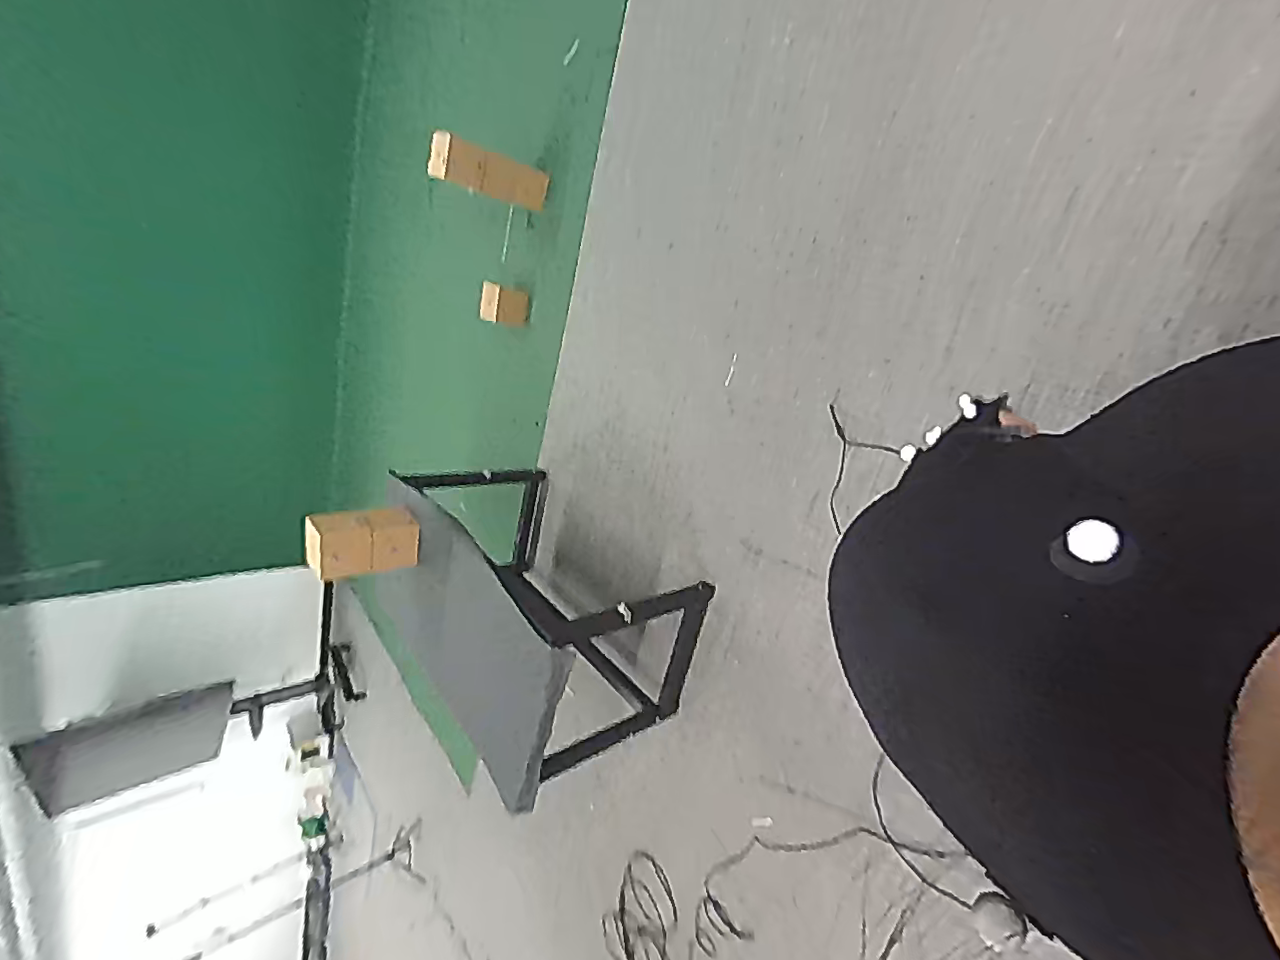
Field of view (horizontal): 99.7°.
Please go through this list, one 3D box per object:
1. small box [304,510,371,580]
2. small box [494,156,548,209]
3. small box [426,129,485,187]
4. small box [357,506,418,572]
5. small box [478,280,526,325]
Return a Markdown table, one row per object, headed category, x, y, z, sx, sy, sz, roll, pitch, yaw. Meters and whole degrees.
| category | x | y | z | sx | sy | sz | roll | pitch | yaw |
| --- | --- | --- | --- | --- | --- | --- | --- | --- | --- |
| small box | -1.052 | 0.220 | 1.884 | 0.168 | 0.176 | 0.179 | 25 | 111 | 40 |
| small box | -0.561 | -1.401 | 2.551 | 0.179 | 0.176 | 0.168 | 39 | 119 | 37 |
| small box | -0.789 | -1.376 | 2.316 | 0.179 | 0.176 | 0.168 | 35 | 116 | 39 |
| small box | -0.937 | 0.210 | 1.998 | 0.168 | 0.176 | 0.179 | 30 | 117 | 39 |
| small box | -0.689 | -0.887 | 2.711 | 0.168 | 0.176 | 0.179 | 29 | 113 | 40 |
